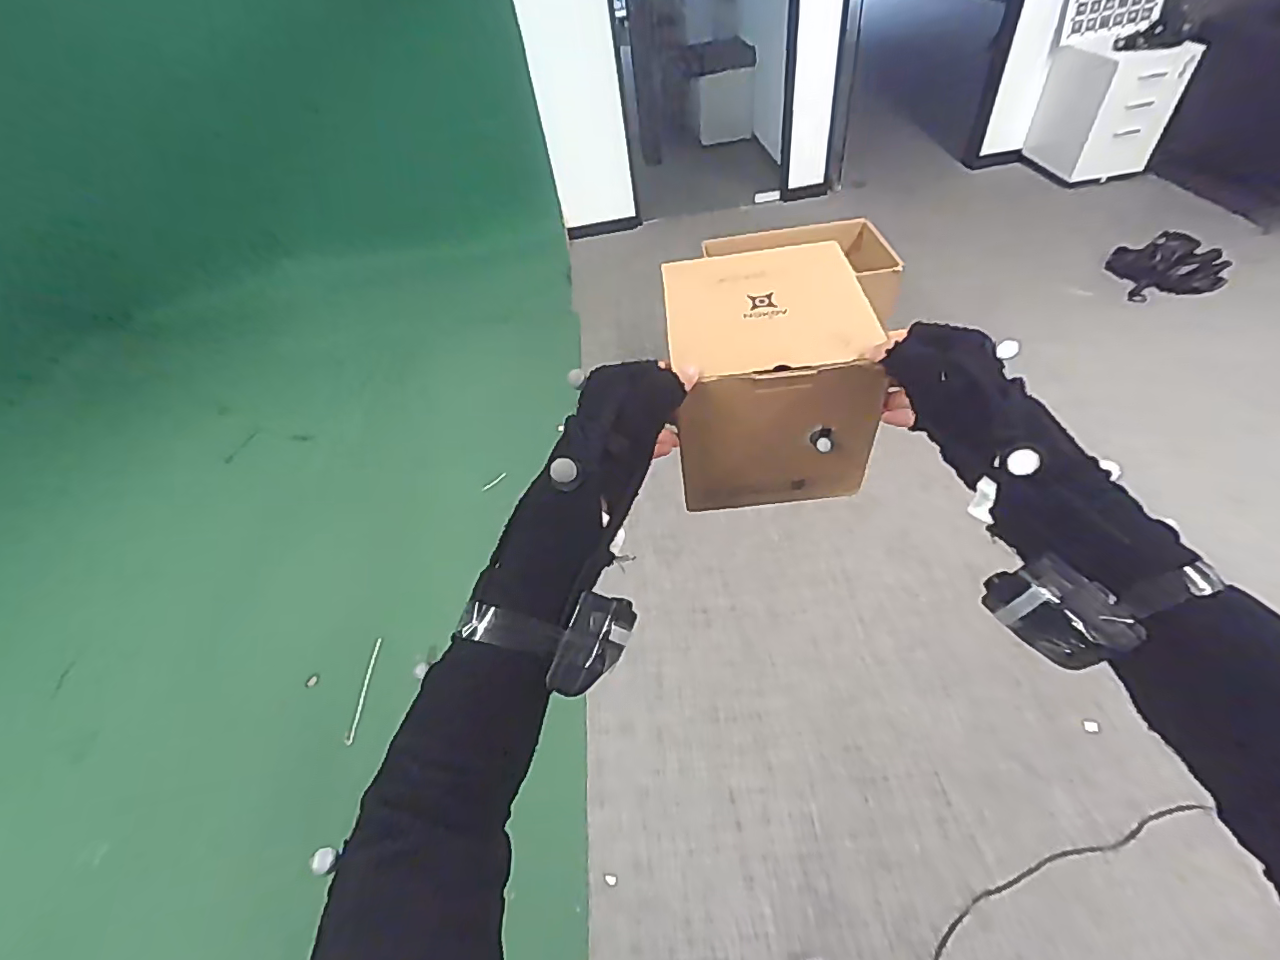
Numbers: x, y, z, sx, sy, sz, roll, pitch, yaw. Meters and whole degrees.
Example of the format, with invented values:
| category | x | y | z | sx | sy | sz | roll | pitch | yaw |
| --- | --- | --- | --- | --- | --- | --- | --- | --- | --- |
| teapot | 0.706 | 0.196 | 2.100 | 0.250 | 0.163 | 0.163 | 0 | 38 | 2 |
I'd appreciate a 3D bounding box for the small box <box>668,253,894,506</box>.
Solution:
| category | x | y | z | sx | sy | sz | roll | pitch | yaw |
| --- | --- | --- | --- | --- | --- | --- | --- | --- | --- |
| small box | 0.119 | -0.088 | 0.519 | 0.168 | 0.176 | 0.179 | -6 | 48 | 5 |
